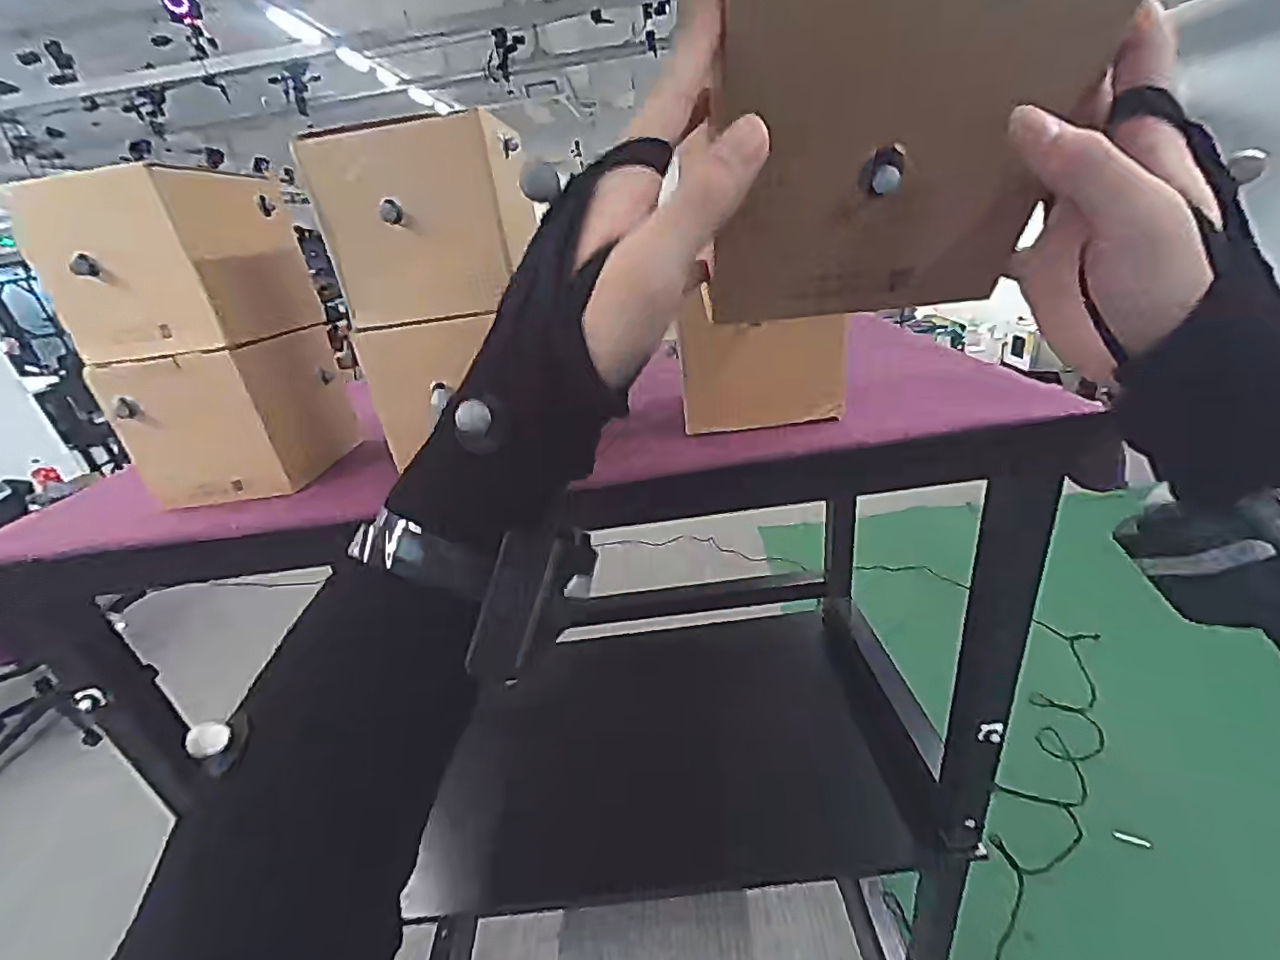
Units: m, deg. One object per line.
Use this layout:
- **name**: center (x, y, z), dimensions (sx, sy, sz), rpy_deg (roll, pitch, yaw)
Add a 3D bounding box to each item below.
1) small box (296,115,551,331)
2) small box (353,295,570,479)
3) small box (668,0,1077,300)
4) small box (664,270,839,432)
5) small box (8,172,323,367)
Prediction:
- **small box**: center (-0.211, -0.265, 0.583), dimensions (0.179, 0.176, 0.168), rpy_deg (-8, 26, 5)
- **small box**: center (-0.192, -0.115, 0.647), dimensions (0.179, 0.176, 0.168), rpy_deg (-7, 25, 8)
- **small box**: center (0.106, -0.221, 0.315), dimensions (0.168, 0.176, 0.179), rpy_deg (-5, 52, 1)
- **small box**: center (0.129, -0.164, 0.640), dimensions (0.179, 0.176, 0.168), rpy_deg (-6, 26, 8)
- **small box**: center (-0.500, -0.230, 0.607), dimensions (0.168, 0.176, 0.179), rpy_deg (-6, 24, 7)
